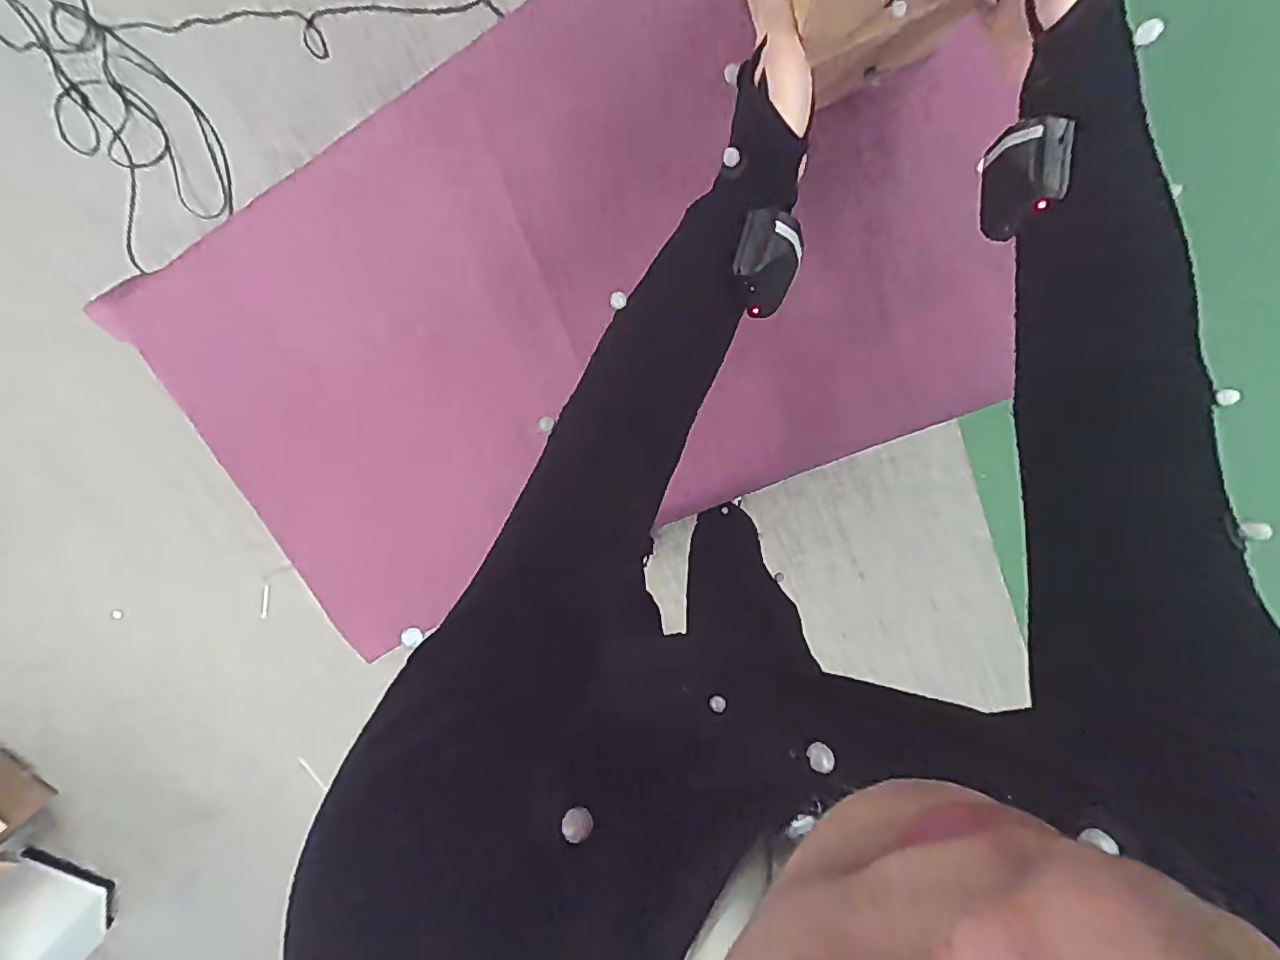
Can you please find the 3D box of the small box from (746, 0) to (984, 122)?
[{"bbox_3d":[0.188,-0.465,0.482,0.168,0.176,0.179,-18,106,15],"label":"small box"}]

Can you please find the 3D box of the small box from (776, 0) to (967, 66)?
[{"bbox_3d":[0.162,-0.410,0.331,0.168,0.176,0.179,-16,107,14],"label":"small box"}]
